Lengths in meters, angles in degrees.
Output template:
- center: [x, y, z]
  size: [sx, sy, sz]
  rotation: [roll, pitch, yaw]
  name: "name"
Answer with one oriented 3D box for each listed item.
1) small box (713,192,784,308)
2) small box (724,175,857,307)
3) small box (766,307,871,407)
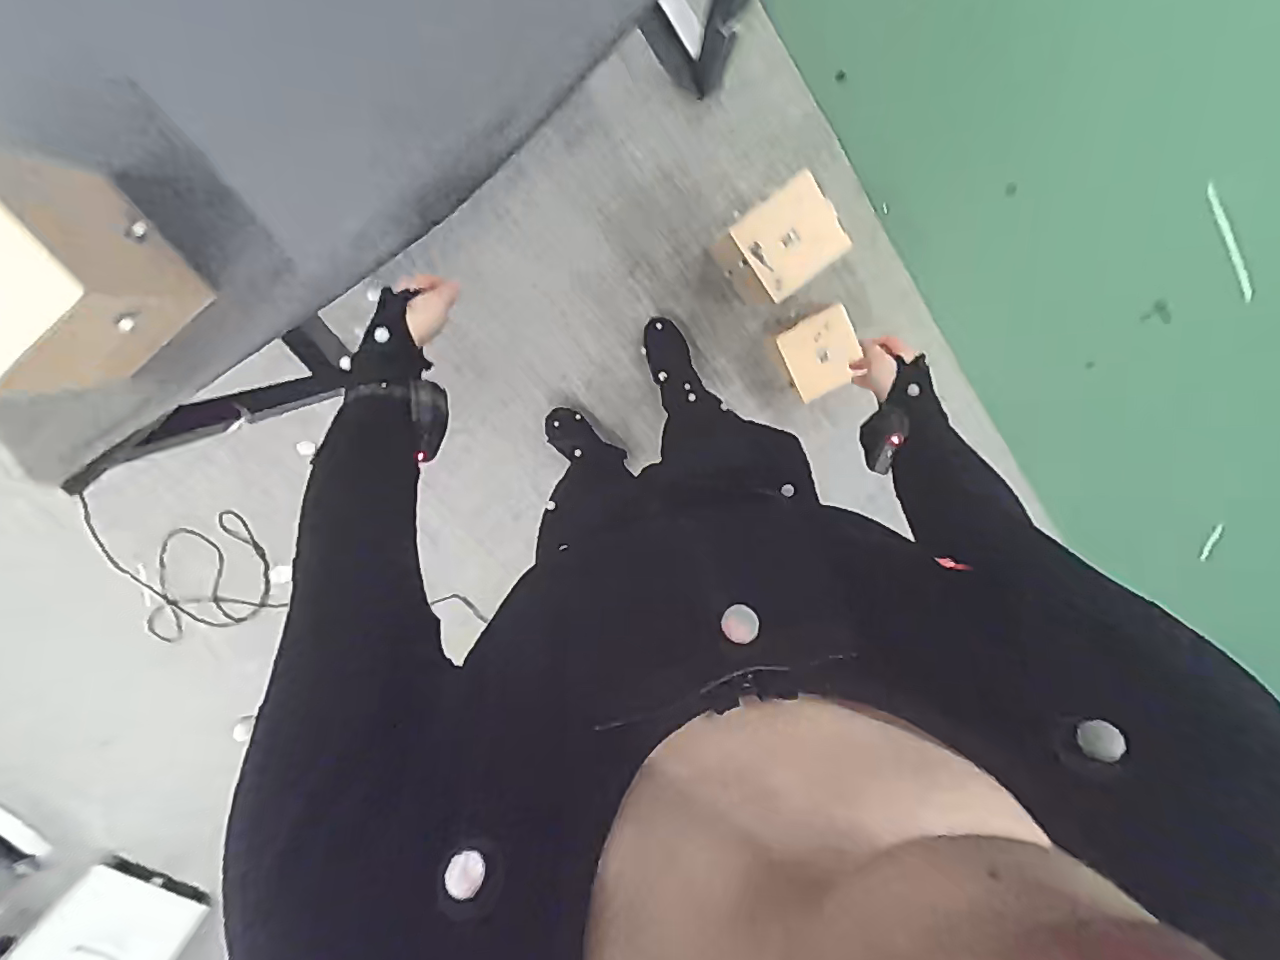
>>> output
- center: [0.285, -0.516, 1.233]
  size: [0.168, 0.176, 0.179]
  rotation: [-36, 103, 11]
  name: "small box"
- center: [0.289, -0.466, 1.076]
  size: [0.179, 0.176, 0.168]
  rotation: [-34, 106, 10]
  name: "small box"
- center: [0.423, -0.302, 1.301]
  size: [0.168, 0.176, 0.179]
  rotation: [-26, 106, 9]
  name: "small box"
